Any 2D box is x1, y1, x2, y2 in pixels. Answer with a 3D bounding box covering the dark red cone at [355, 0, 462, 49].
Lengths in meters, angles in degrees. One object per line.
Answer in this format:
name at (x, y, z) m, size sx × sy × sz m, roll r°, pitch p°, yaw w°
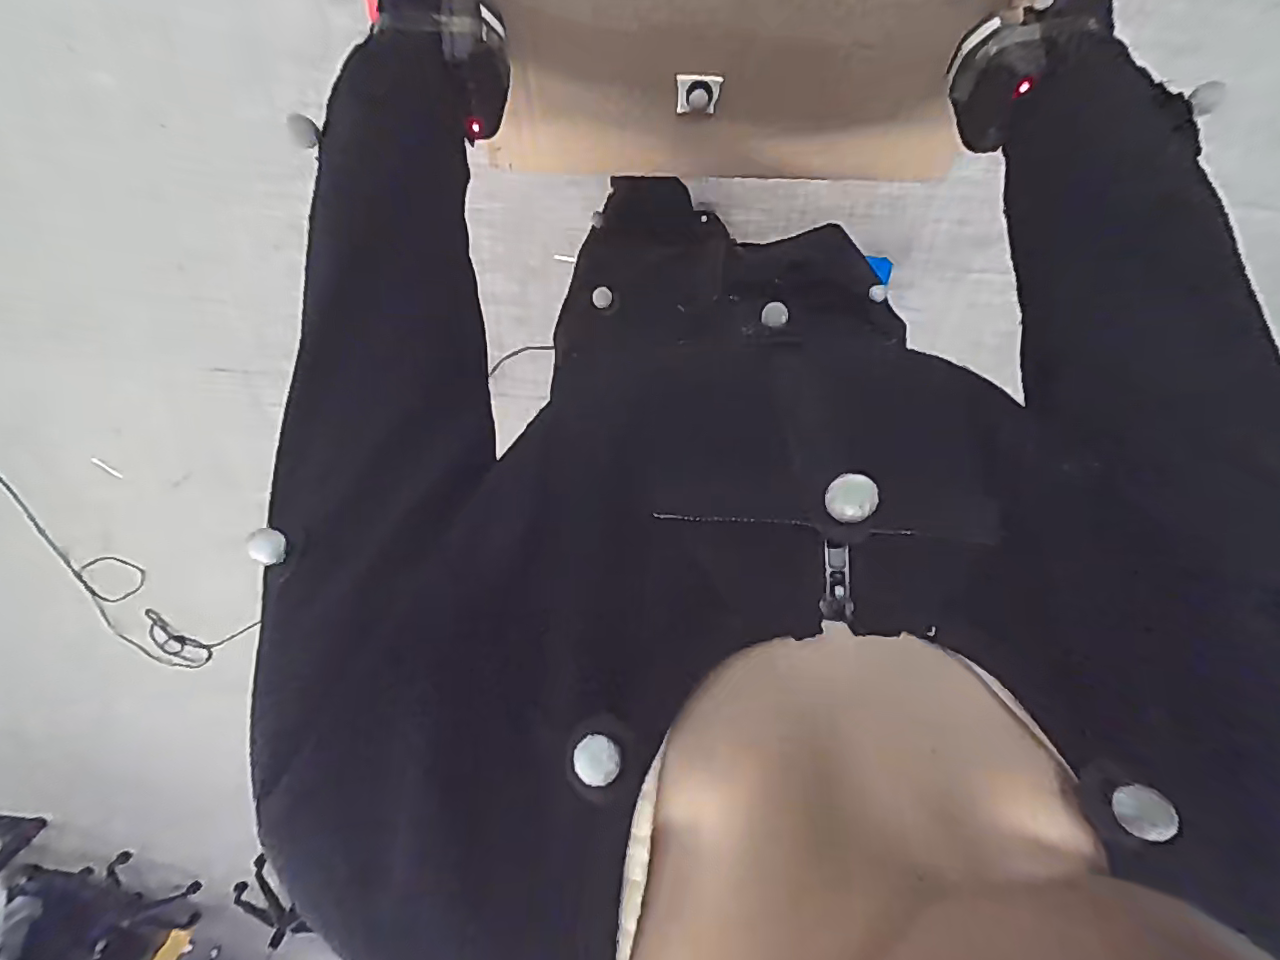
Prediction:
dark red cone at (-0.441, -0.832, 0.819) m, size 0.202 × 0.394 × 0.201 m, roll -1°, pitch 115°, yaw 6°
